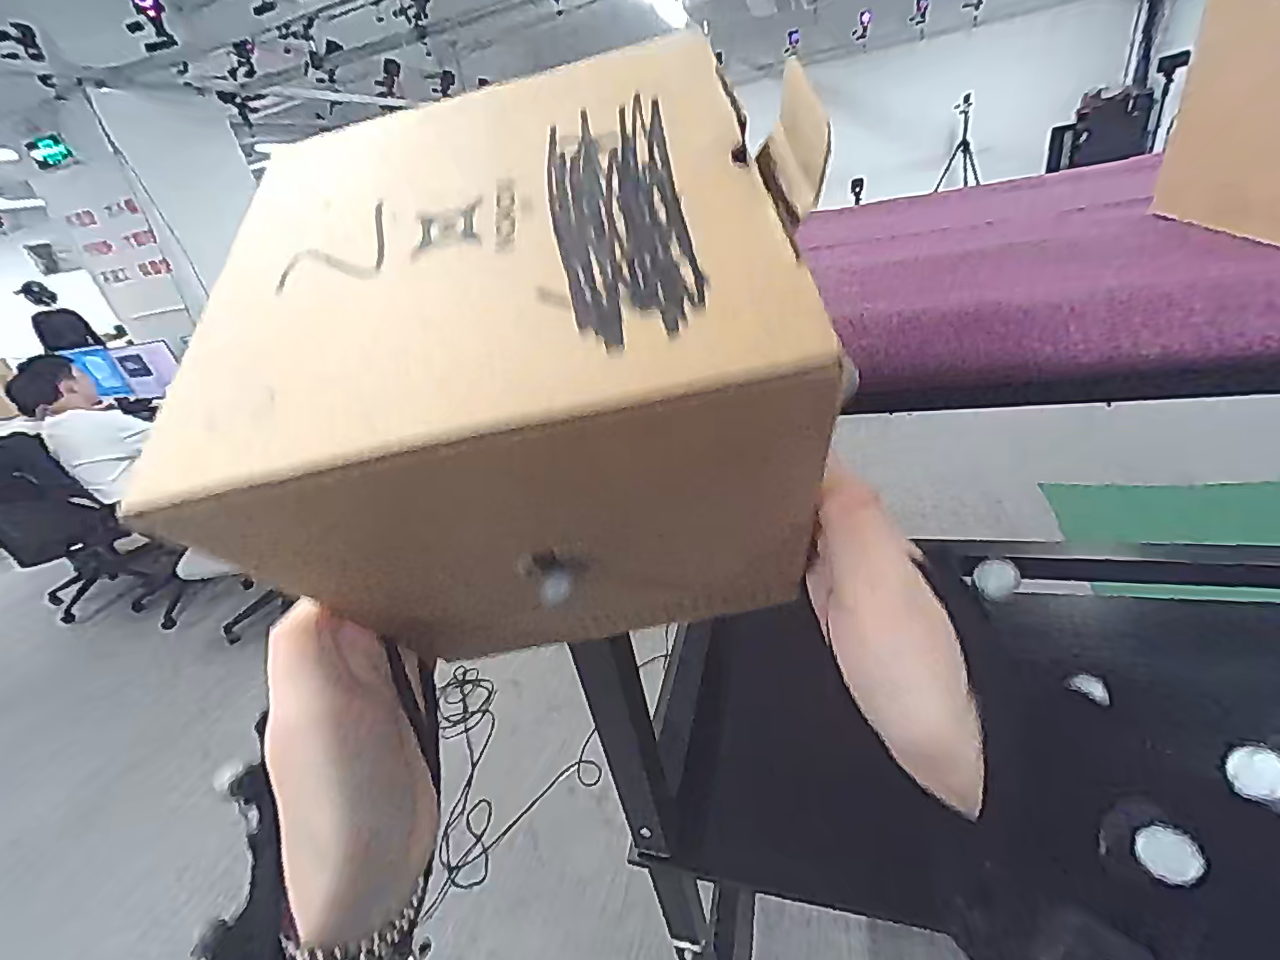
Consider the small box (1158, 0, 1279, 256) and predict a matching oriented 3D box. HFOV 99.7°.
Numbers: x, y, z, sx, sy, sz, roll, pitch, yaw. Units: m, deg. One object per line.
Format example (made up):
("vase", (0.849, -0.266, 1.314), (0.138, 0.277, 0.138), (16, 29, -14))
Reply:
("small box", (0.437, -0.225, 0.289), (0.168, 0.176, 0.179), (1, 31, 20))
